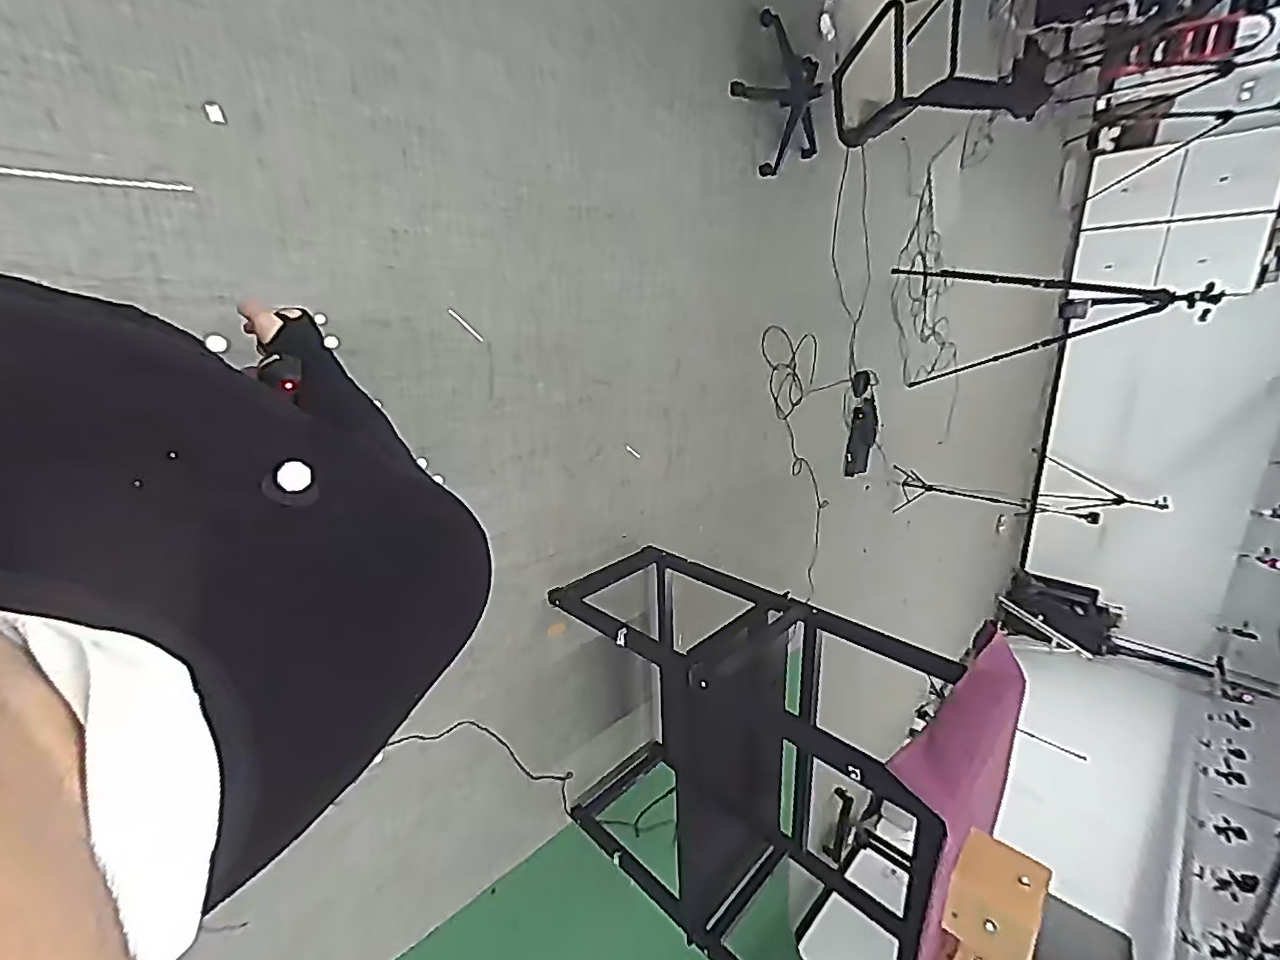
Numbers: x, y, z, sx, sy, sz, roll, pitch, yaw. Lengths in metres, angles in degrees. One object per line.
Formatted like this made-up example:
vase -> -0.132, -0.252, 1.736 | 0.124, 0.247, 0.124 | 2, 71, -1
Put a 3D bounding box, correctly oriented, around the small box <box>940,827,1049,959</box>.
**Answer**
small box -> 0.809, 0.957, 1.241 | 0.179, 0.176, 0.168 | -19, 114, -43
